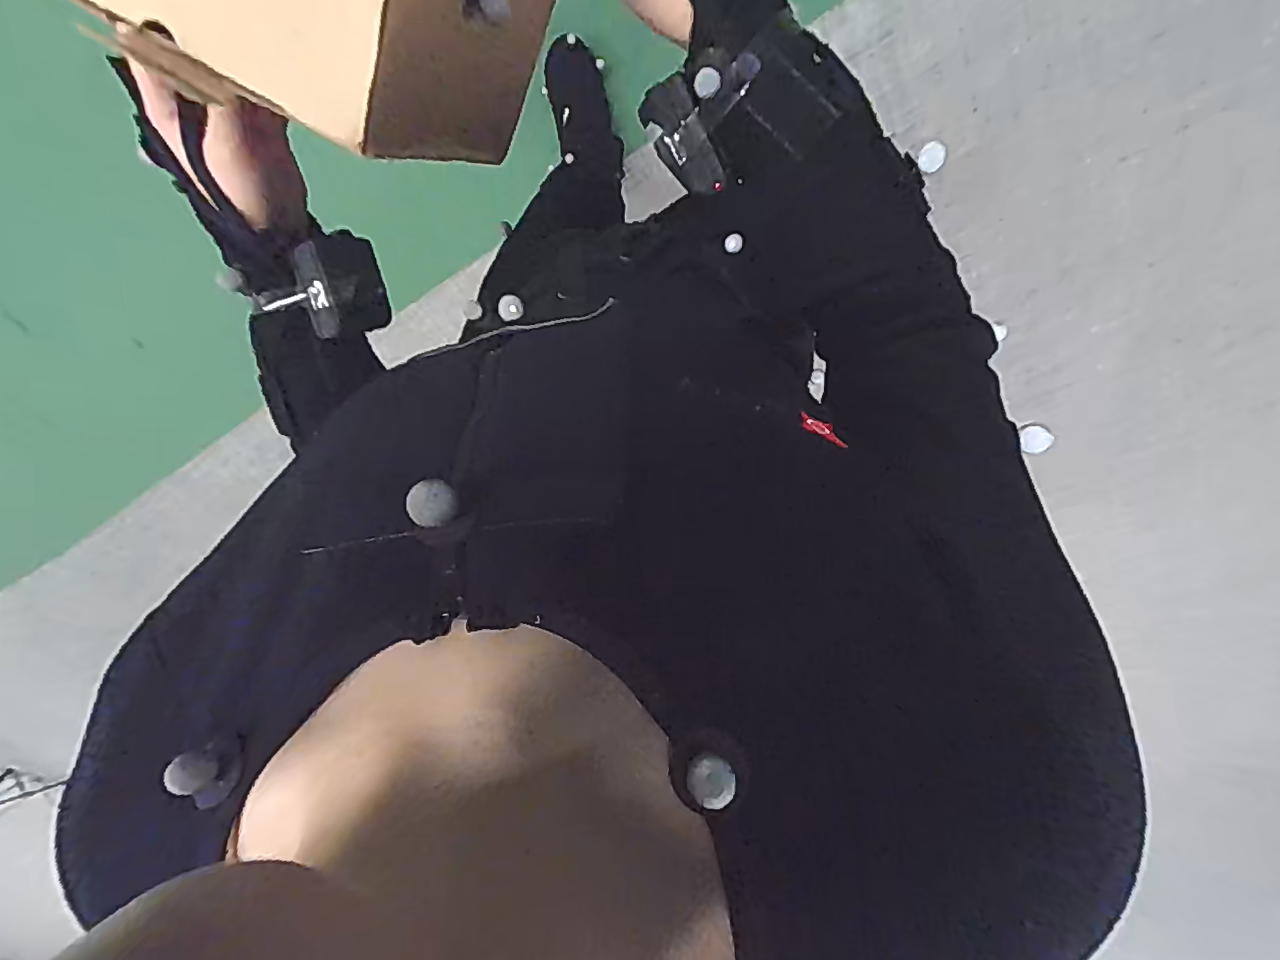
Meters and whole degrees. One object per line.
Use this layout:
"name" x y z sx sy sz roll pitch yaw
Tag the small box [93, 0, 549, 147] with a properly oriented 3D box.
"small box" -0.134 -0.276 0.238 0.168 0.176 0.179 27 120 -7
